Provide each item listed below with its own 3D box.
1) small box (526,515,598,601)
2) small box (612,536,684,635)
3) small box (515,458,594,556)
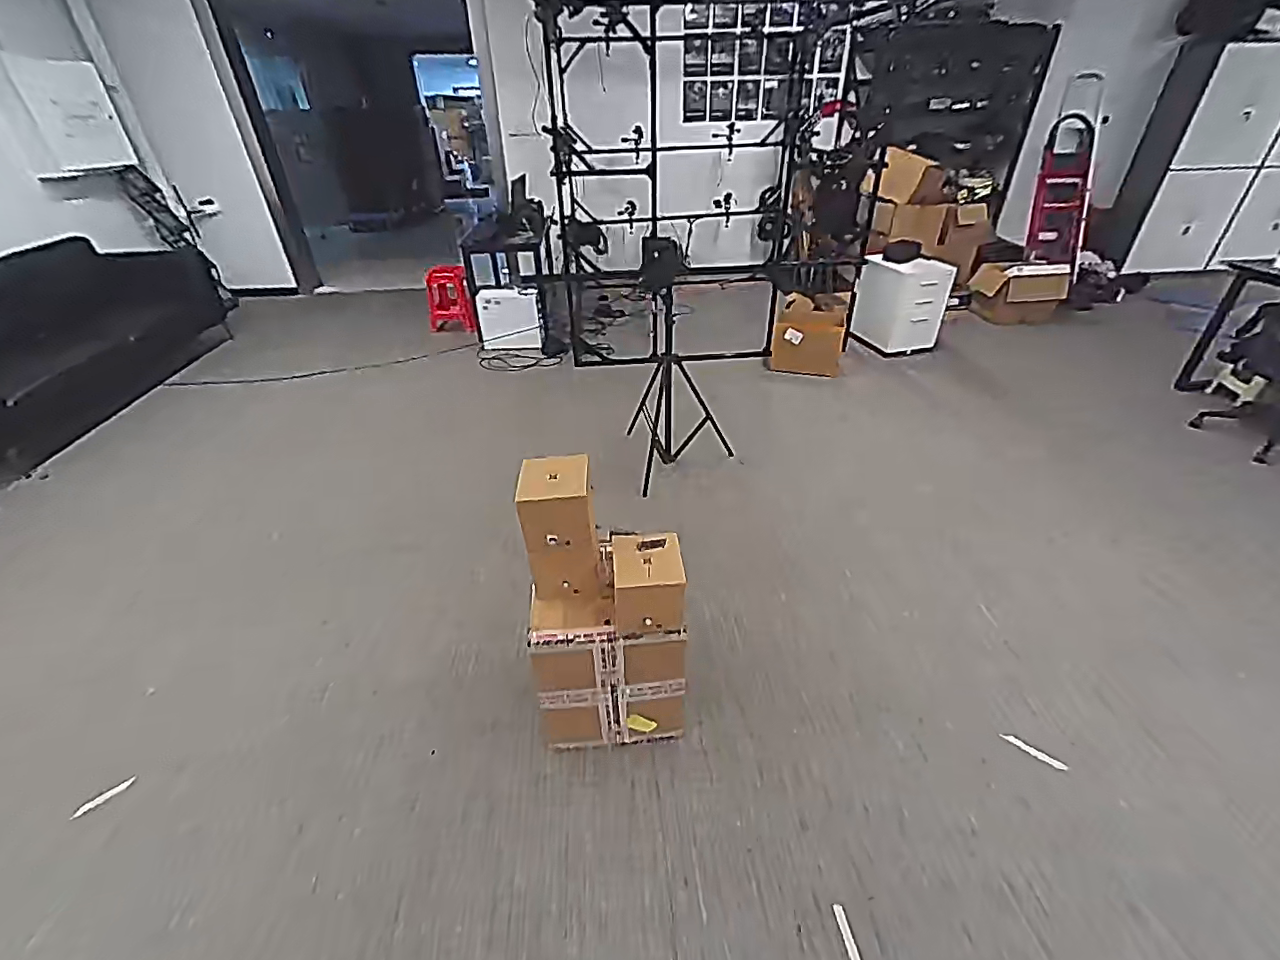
[{"bbox_3d":[-0.201,0.198,1.440,0.168,0.176,0.179,-5,36,-2],"label":"small box"},{"bbox_3d":[0.013,0.261,1.345,0.168,0.176,0.179,-3,37,-4],"label":"small box"},{"bbox_3d":[-0.206,0.066,1.345,0.168,0.176,0.179,-5,36,-2],"label":"small box"}]
